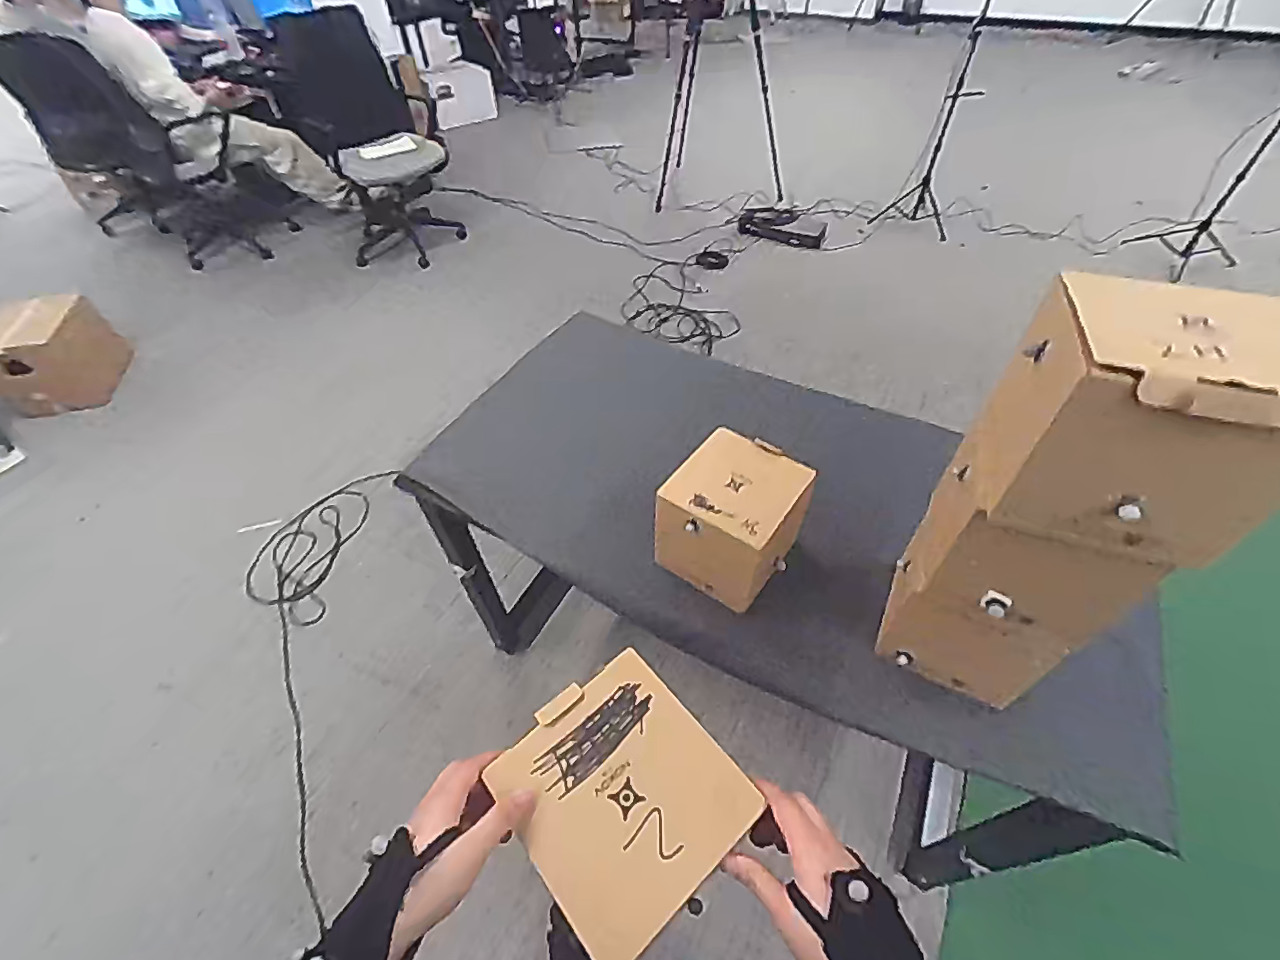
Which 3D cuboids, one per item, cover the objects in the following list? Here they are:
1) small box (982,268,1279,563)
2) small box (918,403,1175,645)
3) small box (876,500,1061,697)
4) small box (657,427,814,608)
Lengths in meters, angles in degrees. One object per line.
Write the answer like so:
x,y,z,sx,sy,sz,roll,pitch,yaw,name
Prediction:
0.424,-0.060,0.475,0.168,0.176,0.179,14,48,17,small box
0.428,0.047,0.601,0.168,0.176,0.179,17,50,18,small box
0.433,0.155,0.722,0.168,0.176,0.179,21,50,20,small box
0.135,0.056,0.819,0.168,0.176,0.179,28,53,25,small box
